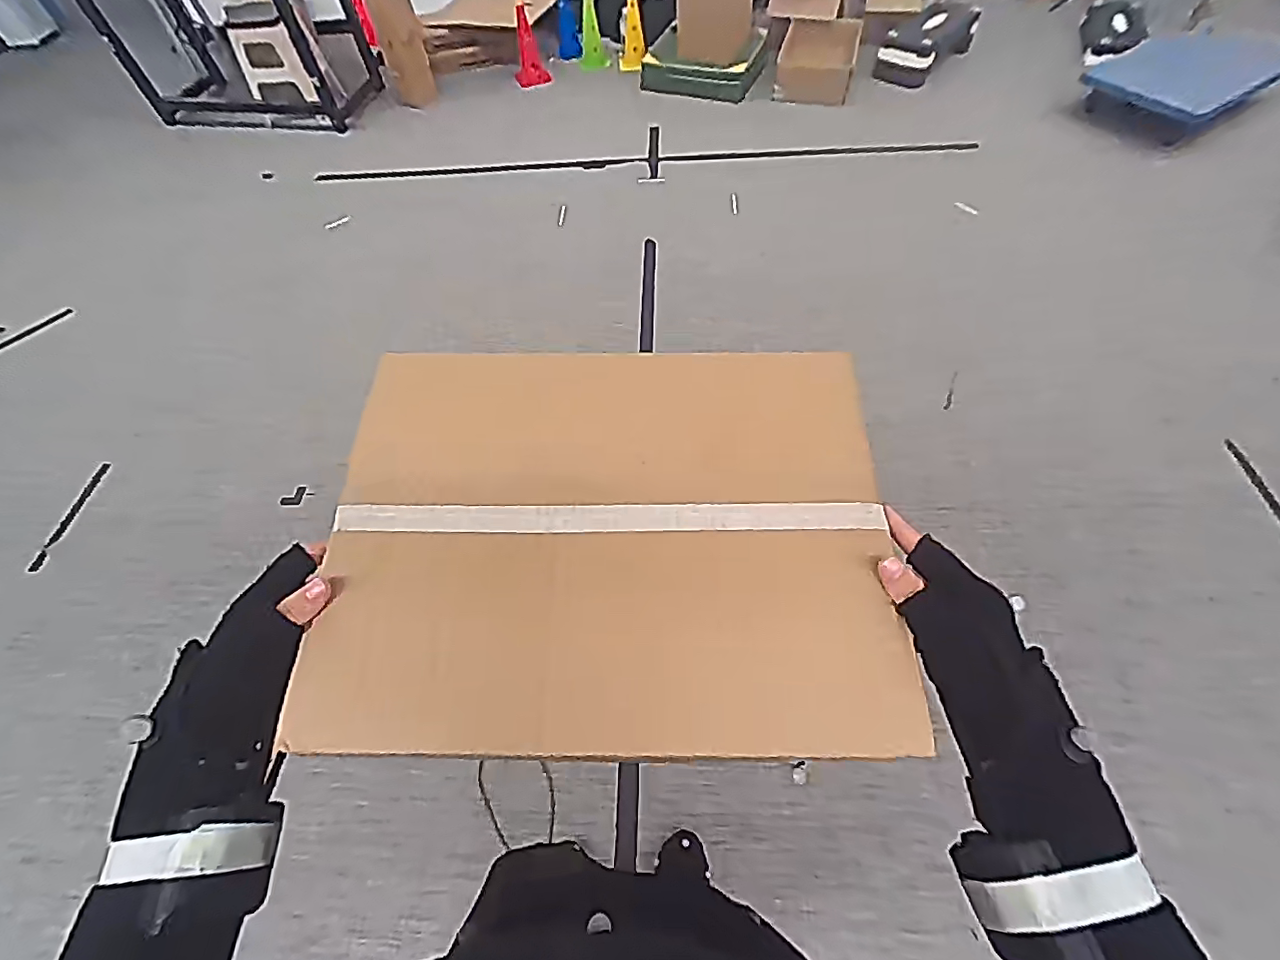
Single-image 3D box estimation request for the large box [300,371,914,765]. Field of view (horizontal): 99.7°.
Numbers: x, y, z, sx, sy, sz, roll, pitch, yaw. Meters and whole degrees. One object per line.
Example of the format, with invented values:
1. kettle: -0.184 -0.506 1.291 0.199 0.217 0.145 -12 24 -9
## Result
1. large box: -0.019 0.107 0.545 0.408 0.320 0.320 1 62 0
